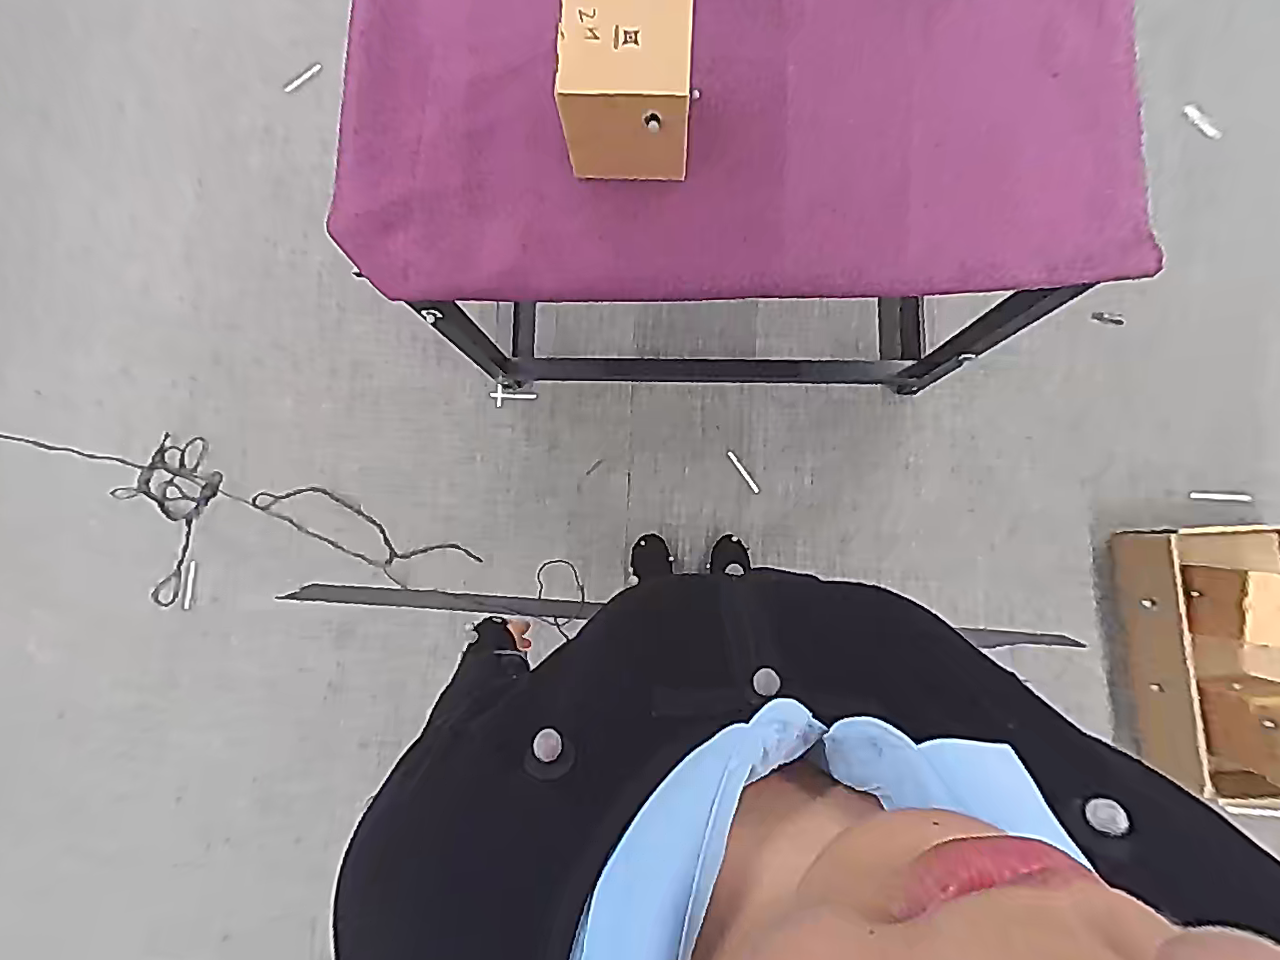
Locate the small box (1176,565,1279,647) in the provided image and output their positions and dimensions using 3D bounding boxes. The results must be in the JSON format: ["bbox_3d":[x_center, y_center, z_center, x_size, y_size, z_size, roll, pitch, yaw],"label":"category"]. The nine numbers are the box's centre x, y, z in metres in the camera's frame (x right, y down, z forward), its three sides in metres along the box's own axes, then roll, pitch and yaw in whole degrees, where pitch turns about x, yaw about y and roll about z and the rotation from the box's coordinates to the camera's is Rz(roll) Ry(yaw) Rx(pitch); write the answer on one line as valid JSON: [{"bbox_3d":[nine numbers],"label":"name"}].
[{"bbox_3d":[1.458,0.301,1.294,0.179,0.176,0.168,8,86,3],"label":"small box"}]

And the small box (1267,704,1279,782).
[{"bbox_3d":[1.451,0.562,1.101,0.179,0.176,0.168,-2,84,2],"label":"small box"}]

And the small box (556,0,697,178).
[{"bbox_3d":[-0.014,-0.563,0.776,0.179,0.176,0.168,3,84,3],"label":"small box"}]
